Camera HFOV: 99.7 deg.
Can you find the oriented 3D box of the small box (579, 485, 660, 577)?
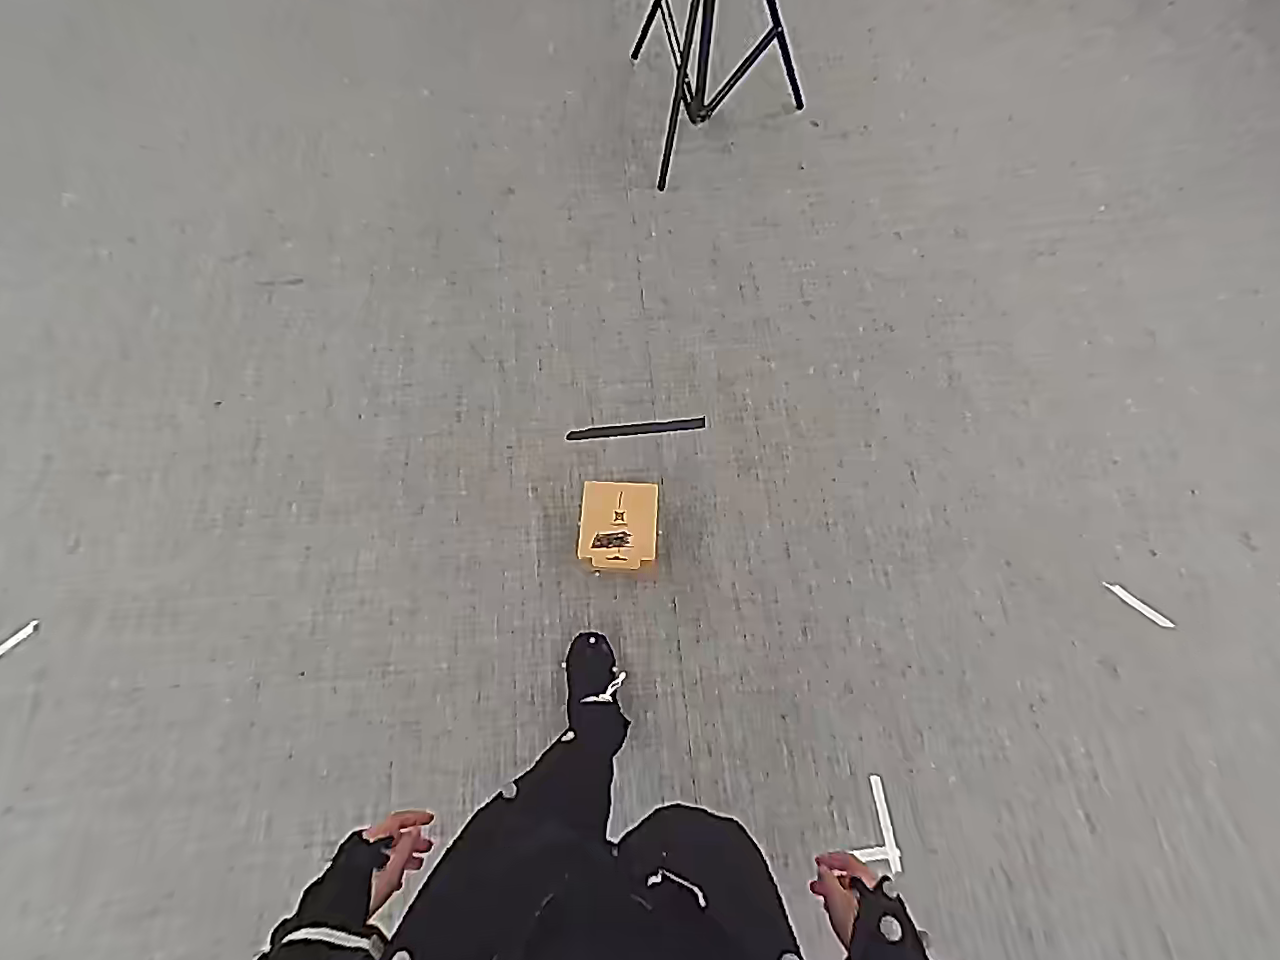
[{"bbox_3d":[-0.041,0.123,1.237,0.168,0.176,0.179,3,70,1],"label":"small box"}]
